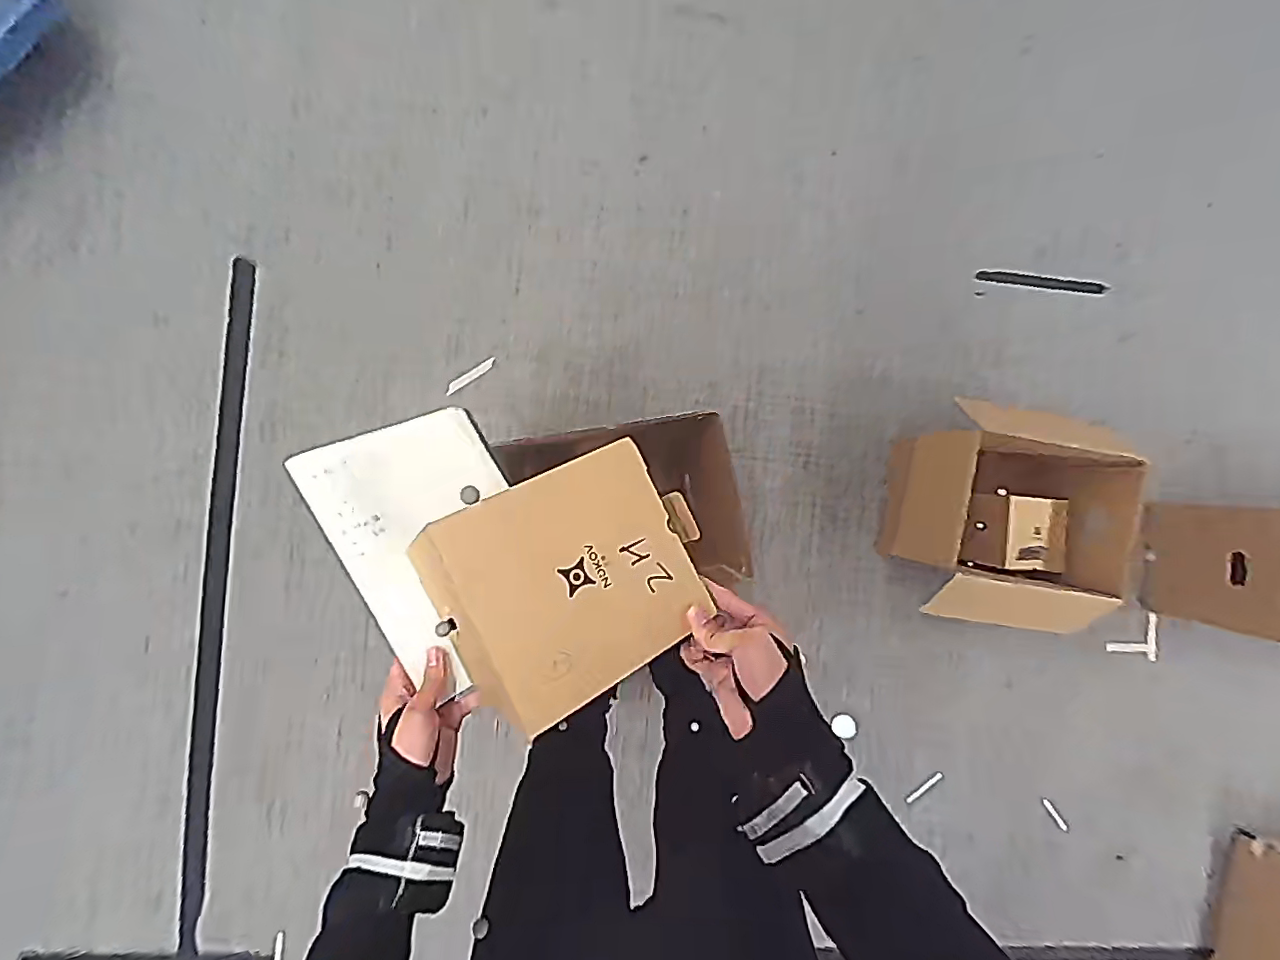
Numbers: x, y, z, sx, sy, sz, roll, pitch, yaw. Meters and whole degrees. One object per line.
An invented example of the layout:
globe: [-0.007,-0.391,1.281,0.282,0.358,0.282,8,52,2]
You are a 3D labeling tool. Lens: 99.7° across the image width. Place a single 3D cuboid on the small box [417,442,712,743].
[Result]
small box: [-0.077,0.089,0.466,0.179,0.176,0.168,-25,91,-31]
